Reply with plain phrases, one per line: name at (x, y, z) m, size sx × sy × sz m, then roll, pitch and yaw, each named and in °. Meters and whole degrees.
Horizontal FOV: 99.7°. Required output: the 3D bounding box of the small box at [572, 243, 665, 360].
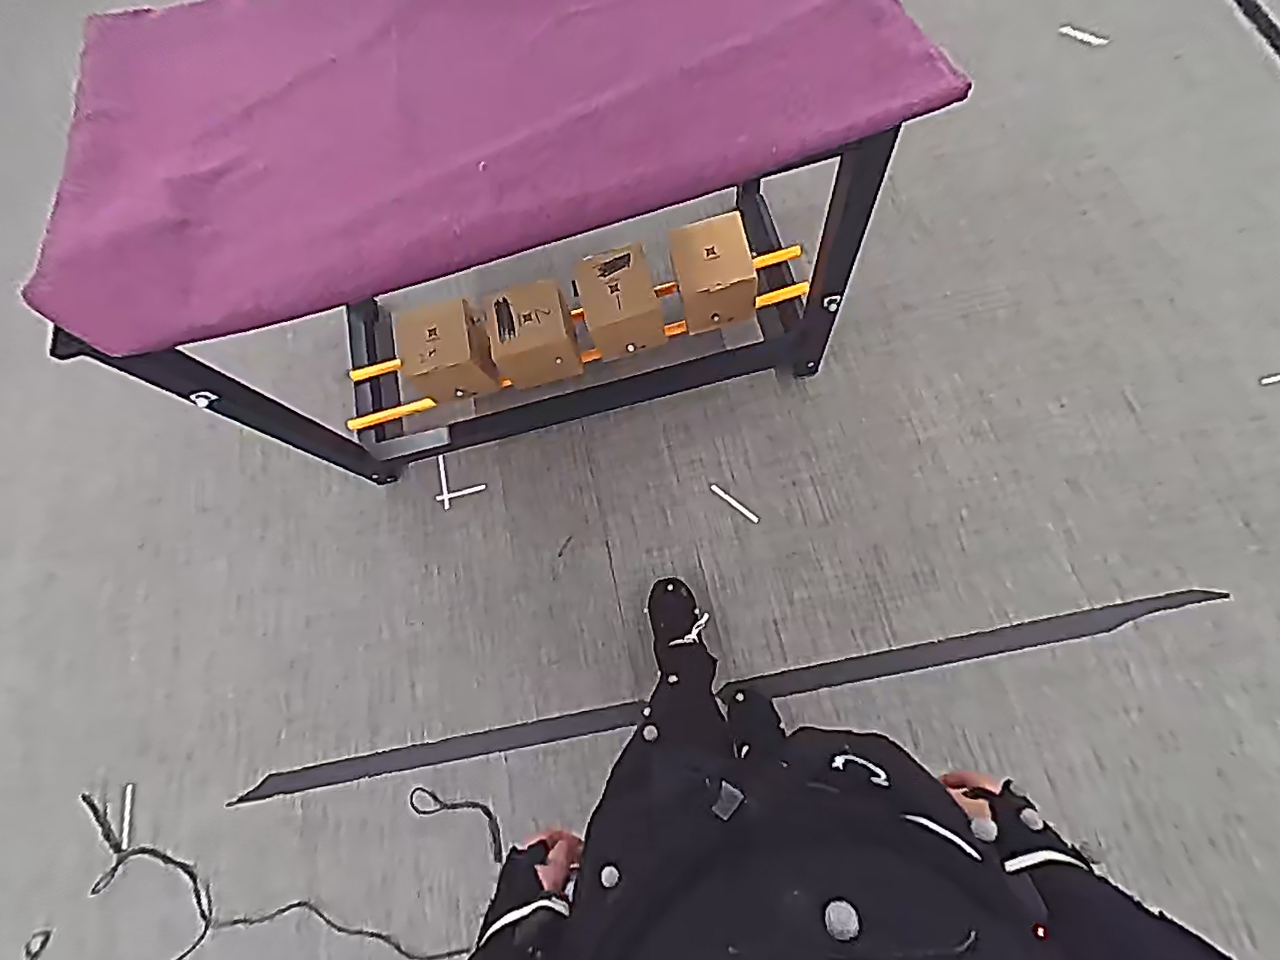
small box at (-0.046, -0.411, 1.265) m, size 0.168 × 0.176 × 0.179 m, roll -16°, pitch 76°, yaw 5°

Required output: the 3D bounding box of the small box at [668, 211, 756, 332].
small box at (0.165, -0.474, 1.247) m, size 0.168 × 0.176 × 0.179 m, roll -13°, pitch 75°, yaw 6°

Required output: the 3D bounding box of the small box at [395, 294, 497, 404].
small box at (-0.459, -0.307, 1.294) m, size 0.168 × 0.176 × 0.179 m, roll -14°, pitch 75°, yaw 4°
